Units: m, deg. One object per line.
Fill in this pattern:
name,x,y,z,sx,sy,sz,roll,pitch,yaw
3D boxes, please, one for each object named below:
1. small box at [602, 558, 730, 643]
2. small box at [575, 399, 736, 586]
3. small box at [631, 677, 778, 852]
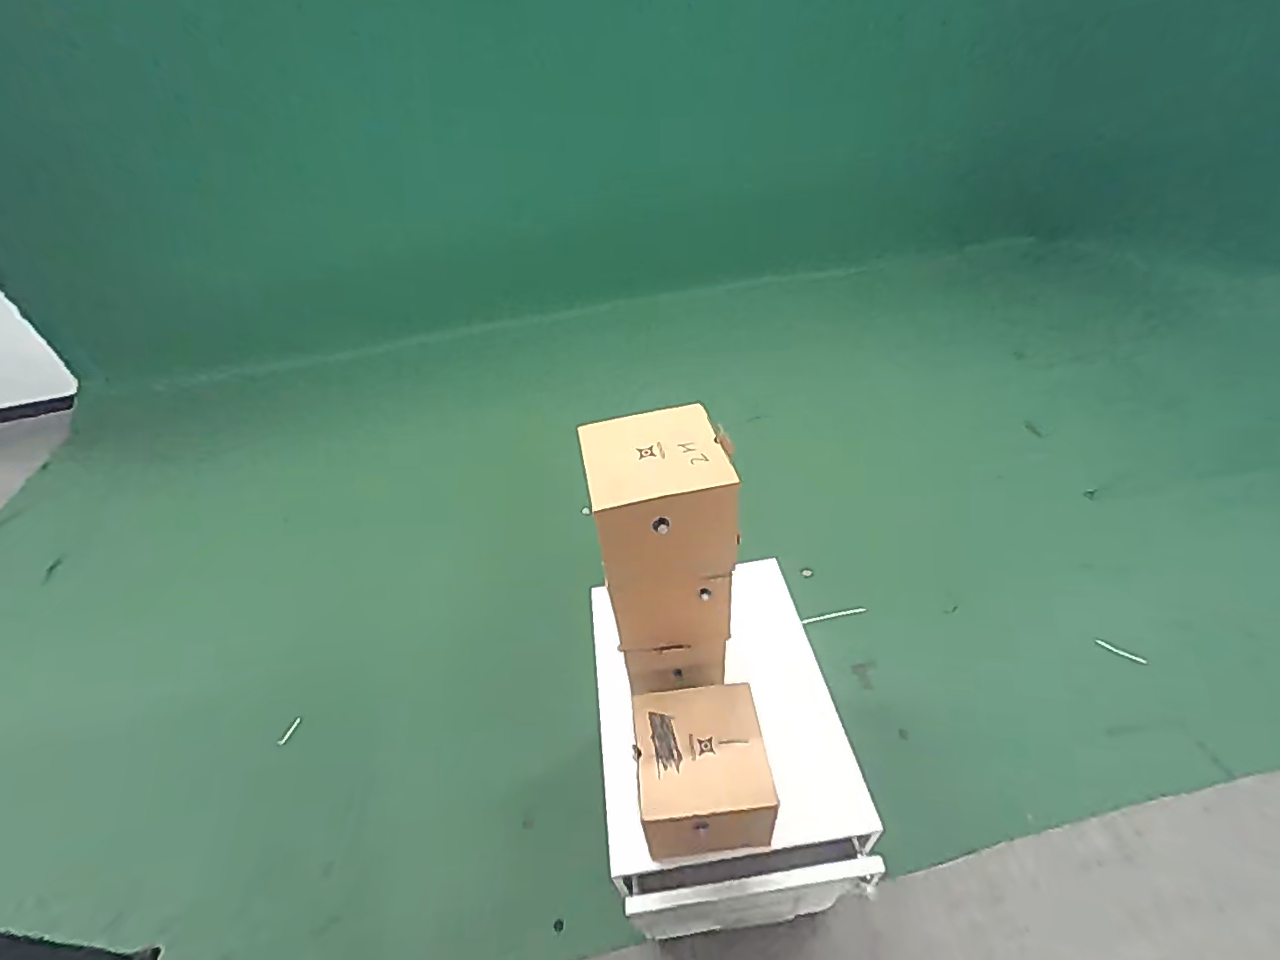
small box,0.039,0.135,0.833,0.179,0.176,0.168,-6,42,0
small box,0.019,0.019,0.717,0.179,0.176,0.168,-11,43,-5
small box,0.086,0.406,0.769,0.179,0.176,0.168,-6,41,0
